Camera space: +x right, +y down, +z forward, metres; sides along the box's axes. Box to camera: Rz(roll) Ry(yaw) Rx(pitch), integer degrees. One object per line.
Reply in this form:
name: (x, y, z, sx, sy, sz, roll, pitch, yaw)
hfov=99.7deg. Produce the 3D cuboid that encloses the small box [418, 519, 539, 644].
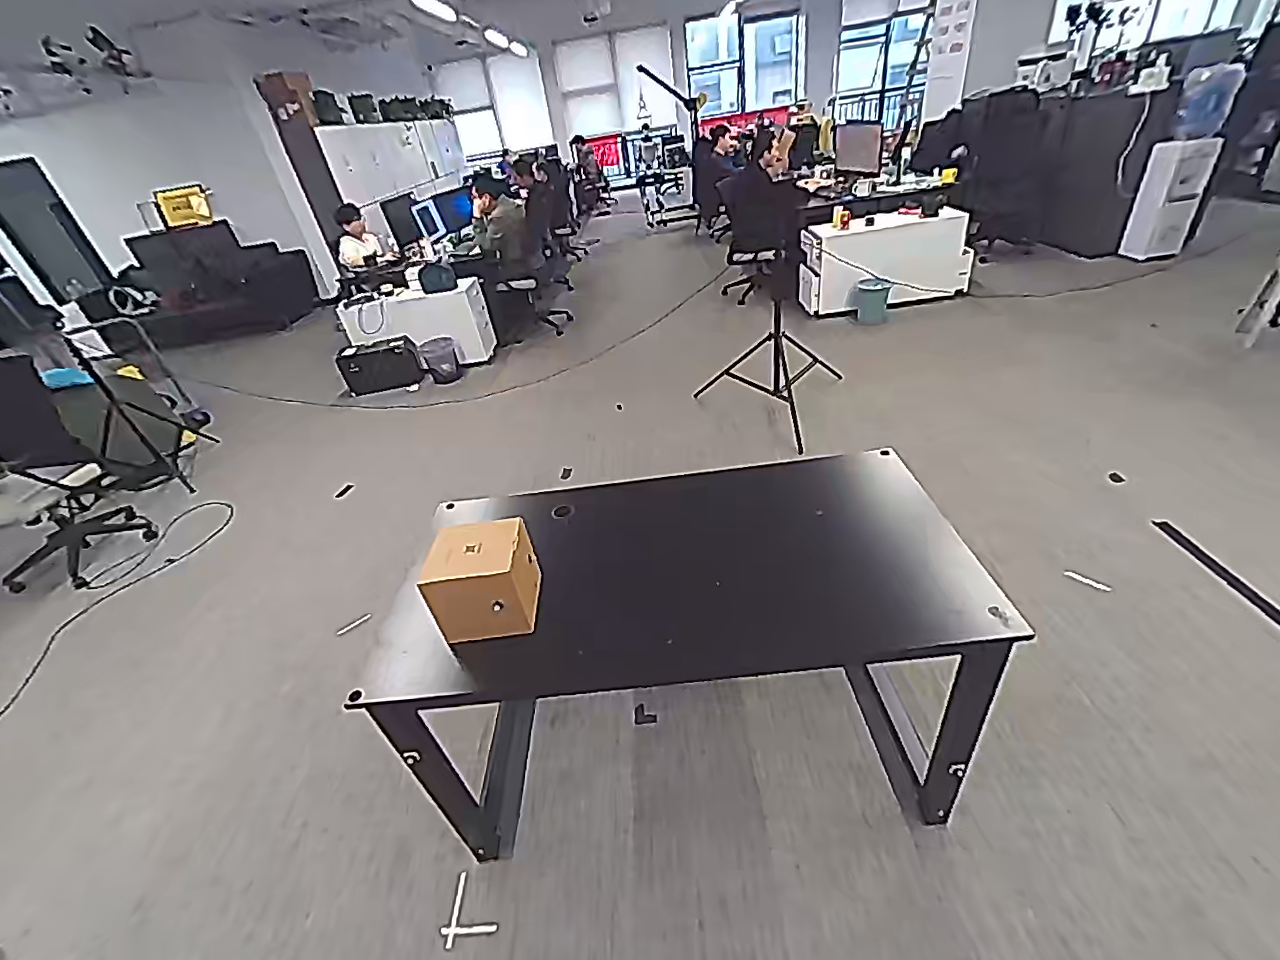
small box: (-0.310, 0.204, 1.085, 0.179, 0.176, 0.168, -9, 33, 2)
